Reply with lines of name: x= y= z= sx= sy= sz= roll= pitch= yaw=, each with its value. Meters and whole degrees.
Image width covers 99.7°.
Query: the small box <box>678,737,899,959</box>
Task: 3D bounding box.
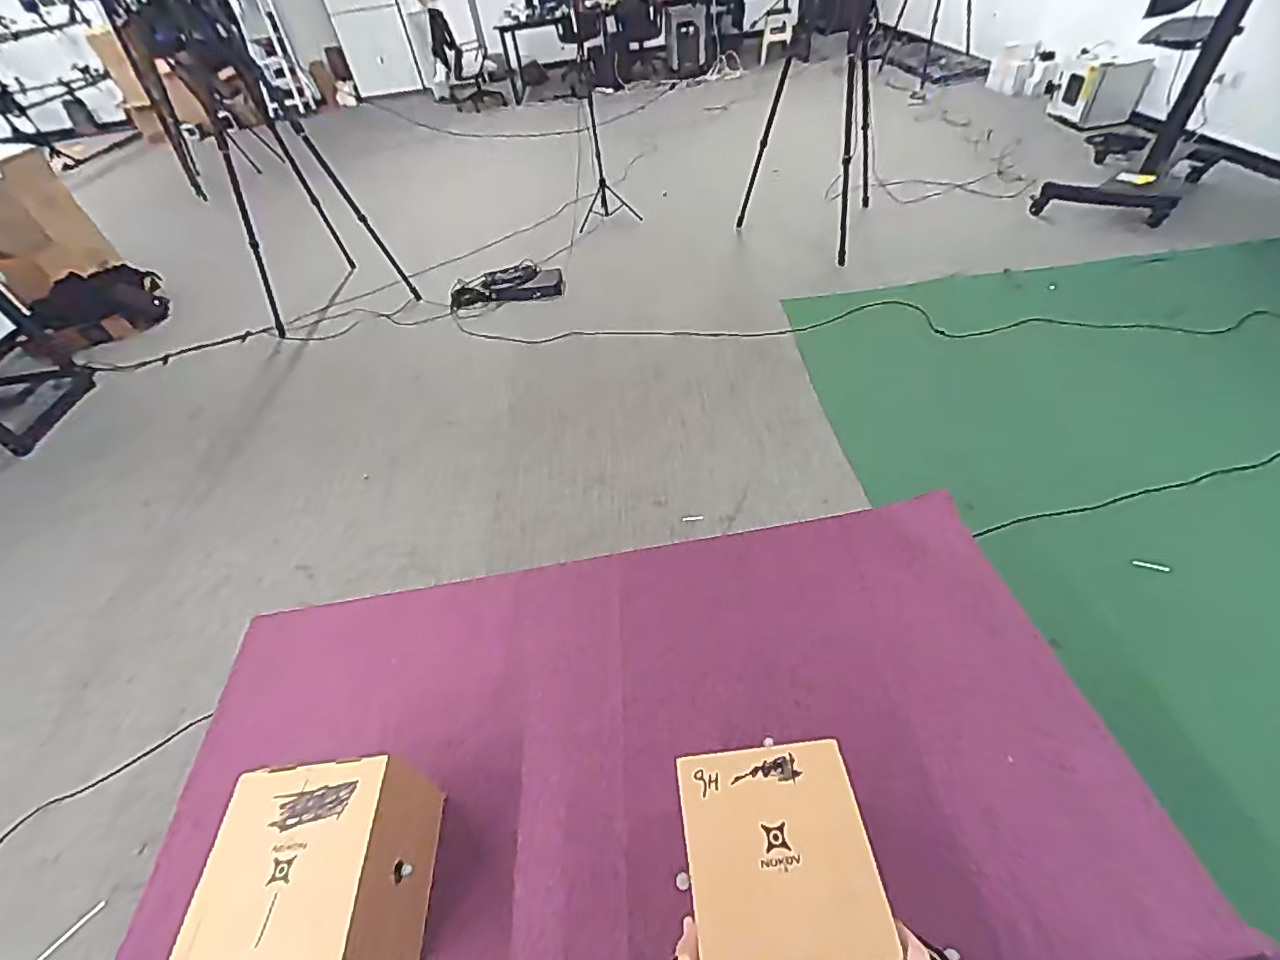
small box: x=0.134 y=0.386 z=0.552 sx=0.168 sy=0.176 sz=0.179 roll=-7 pitch=48 yaw=1

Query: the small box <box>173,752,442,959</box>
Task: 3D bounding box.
small box: x=-0.333 y=0.422 z=0.588 sx=0.168 sy=0.176 sz=0.179 roll=-8 pitch=48 yaw=1
